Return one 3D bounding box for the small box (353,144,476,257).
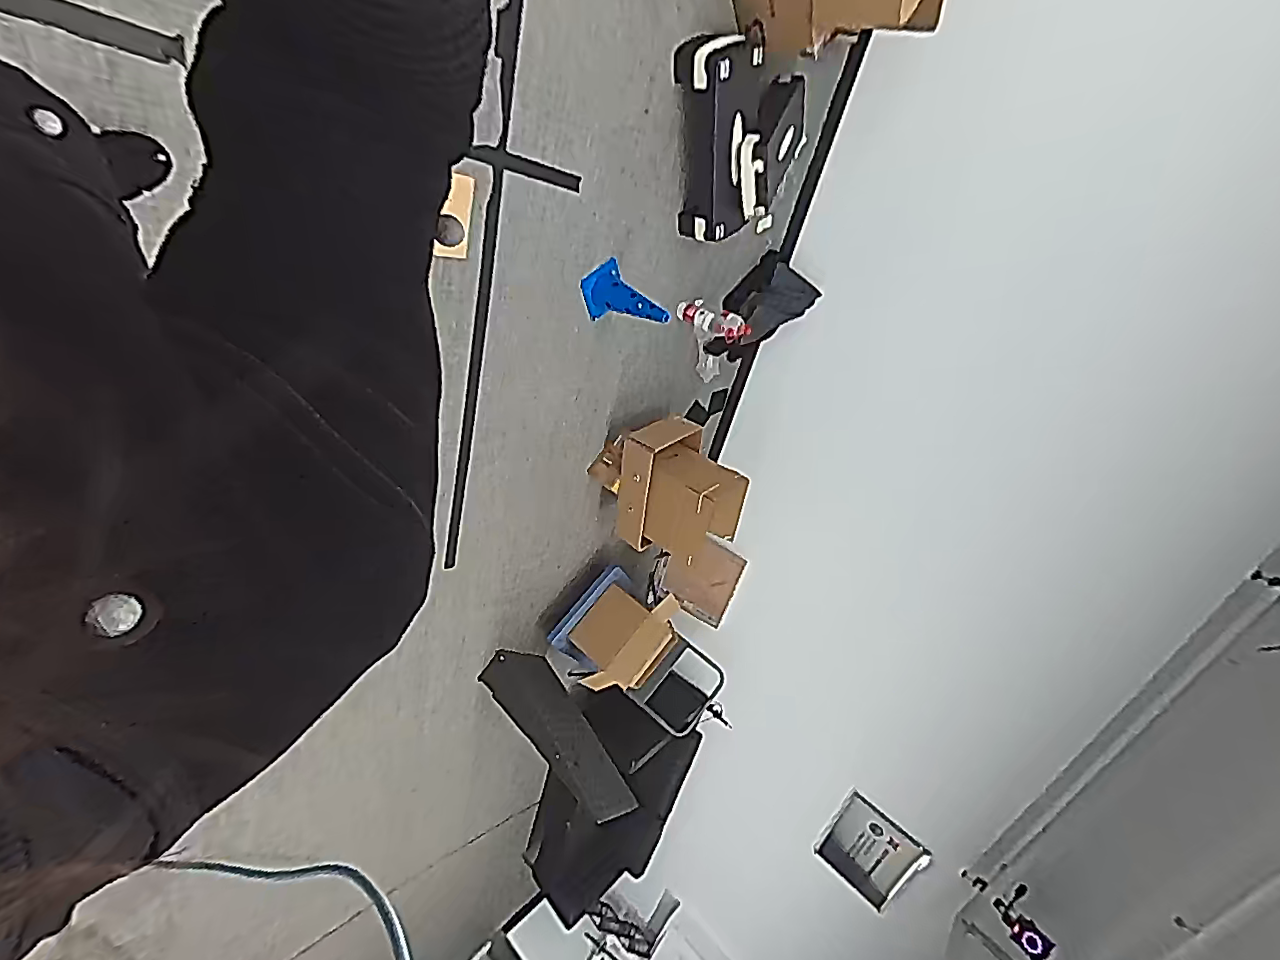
[{"bbox_3d":[-0.477,-0.588,1.142,0.179,0.176,0.168,-17,132,-47],"label":"small box"}]
